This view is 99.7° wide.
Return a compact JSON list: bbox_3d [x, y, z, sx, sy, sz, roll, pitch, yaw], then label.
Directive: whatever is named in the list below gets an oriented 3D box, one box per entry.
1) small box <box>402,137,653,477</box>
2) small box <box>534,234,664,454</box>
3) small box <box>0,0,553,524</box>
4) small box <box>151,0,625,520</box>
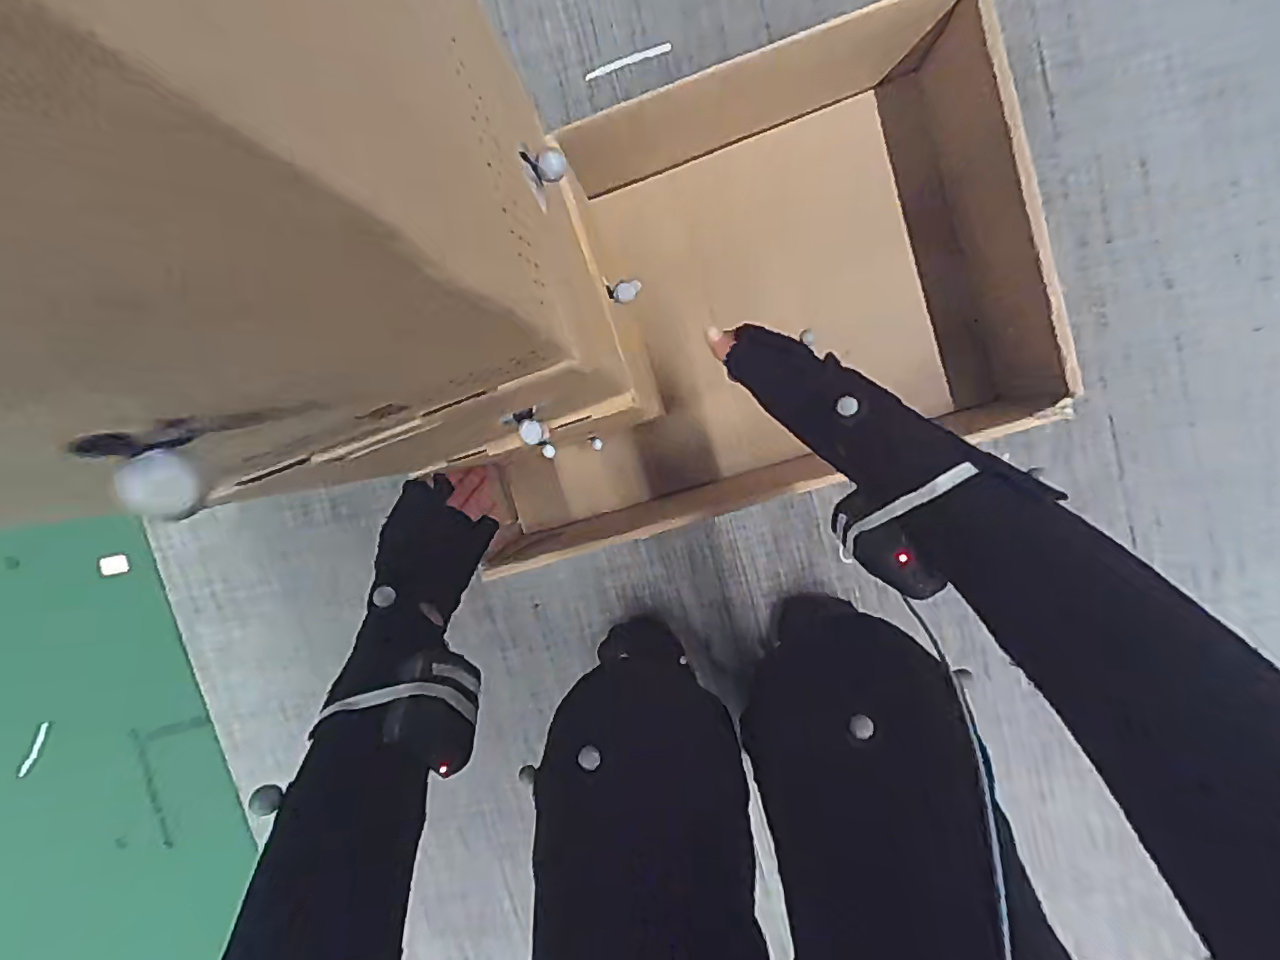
[{"bbox_3d":[-0.094,-0.112,0.419,0.168,0.176,0.179,-16,95,7],"label":"small box"},{"bbox_3d":[-0.076,-0.128,0.580,0.168,0.176,0.179,-15,94,8],"label":"small box"},{"bbox_3d":[-0.131,-0.086,0.095,0.168,0.176,0.179,-18,95,6],"label":"small box"},{"bbox_3d":[-0.114,-0.099,0.257,0.168,0.176,0.179,-18,94,7],"label":"small box"}]
